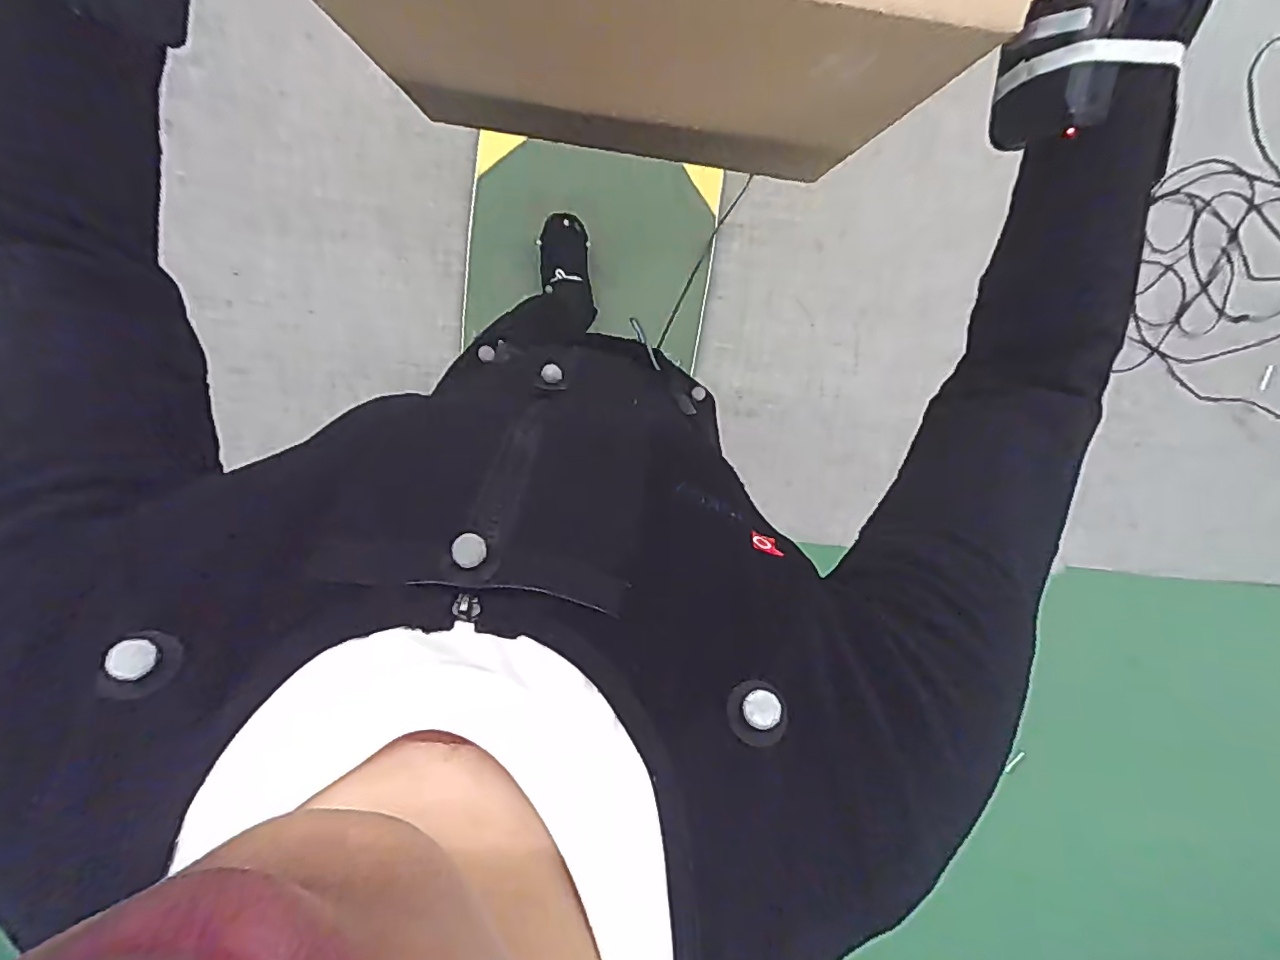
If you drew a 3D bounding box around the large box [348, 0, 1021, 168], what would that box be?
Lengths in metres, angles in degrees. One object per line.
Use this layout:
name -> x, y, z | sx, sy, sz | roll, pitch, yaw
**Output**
large box -> 0.015, -0.451, 0.375 | 0.408, 0.320, 0.320 | 6, 106, -5
